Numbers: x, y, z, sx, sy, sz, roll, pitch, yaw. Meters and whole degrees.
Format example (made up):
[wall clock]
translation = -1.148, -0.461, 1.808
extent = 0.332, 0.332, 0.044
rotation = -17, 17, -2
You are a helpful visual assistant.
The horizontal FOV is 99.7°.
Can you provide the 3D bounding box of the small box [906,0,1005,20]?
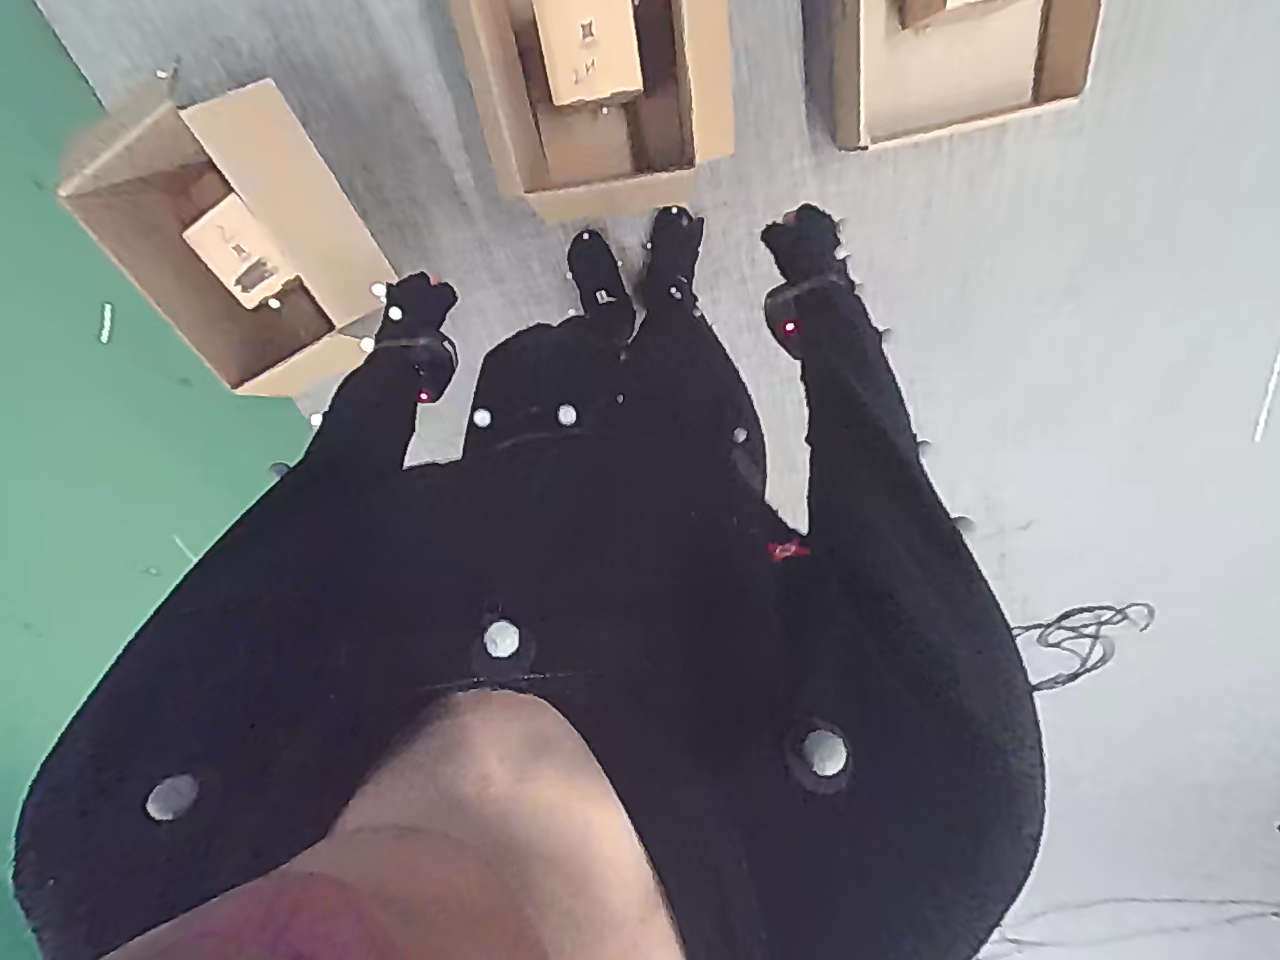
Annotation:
[small box]
translation = 0.561, -0.898, 0.896
extent = 0.168, 0.176, 0.179
rotation = -8, 119, 5
